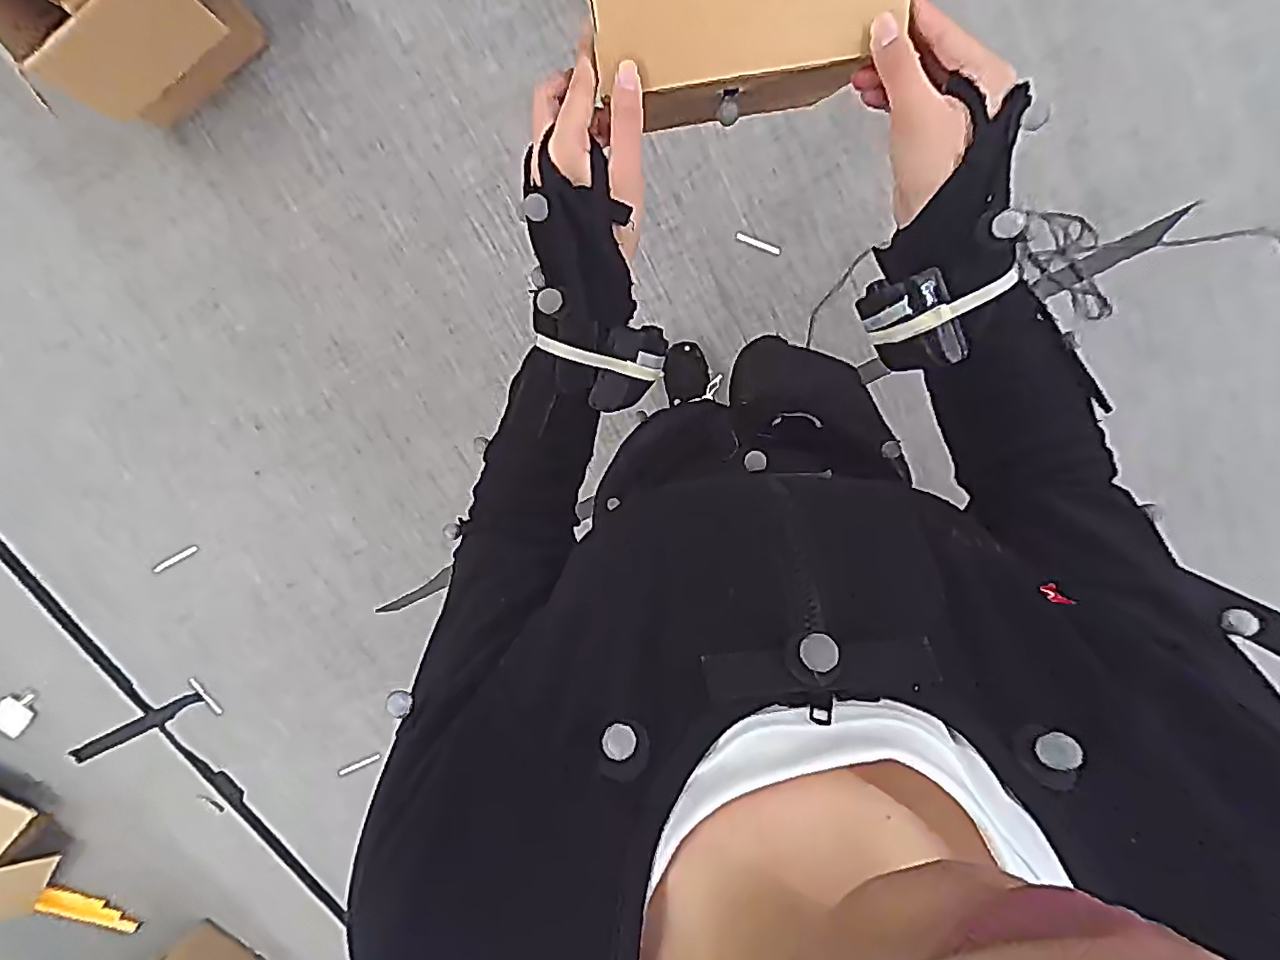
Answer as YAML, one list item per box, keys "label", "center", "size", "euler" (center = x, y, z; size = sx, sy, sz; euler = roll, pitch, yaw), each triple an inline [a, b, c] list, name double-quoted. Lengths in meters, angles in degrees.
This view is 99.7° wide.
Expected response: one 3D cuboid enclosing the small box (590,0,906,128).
- label: "small box"
  center: [0.053, -0.343, 0.348]
  size: [0.179, 0.176, 0.168]
  euler: [-7, 115, 3]
